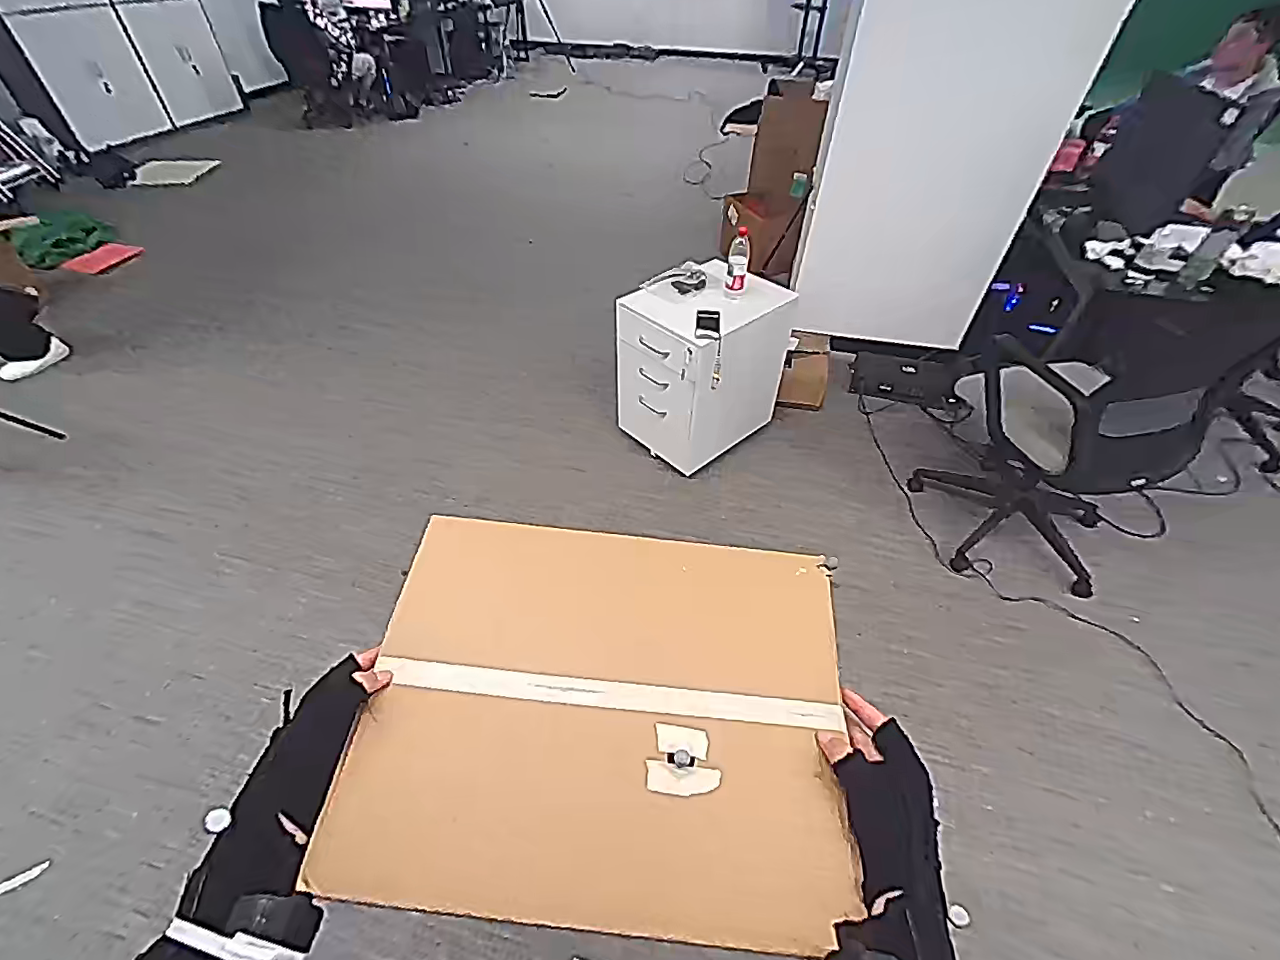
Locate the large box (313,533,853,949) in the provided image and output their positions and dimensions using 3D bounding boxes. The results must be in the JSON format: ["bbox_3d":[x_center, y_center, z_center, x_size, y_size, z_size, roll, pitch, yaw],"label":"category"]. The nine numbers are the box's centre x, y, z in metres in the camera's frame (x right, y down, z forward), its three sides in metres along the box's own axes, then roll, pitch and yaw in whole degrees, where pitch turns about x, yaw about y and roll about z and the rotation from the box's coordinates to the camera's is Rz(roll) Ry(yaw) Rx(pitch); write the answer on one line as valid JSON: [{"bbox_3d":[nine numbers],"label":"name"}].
[{"bbox_3d":[-0.040,0.281,0.596,0.408,0.320,0.320,6,56,0],"label":"large box"}]
